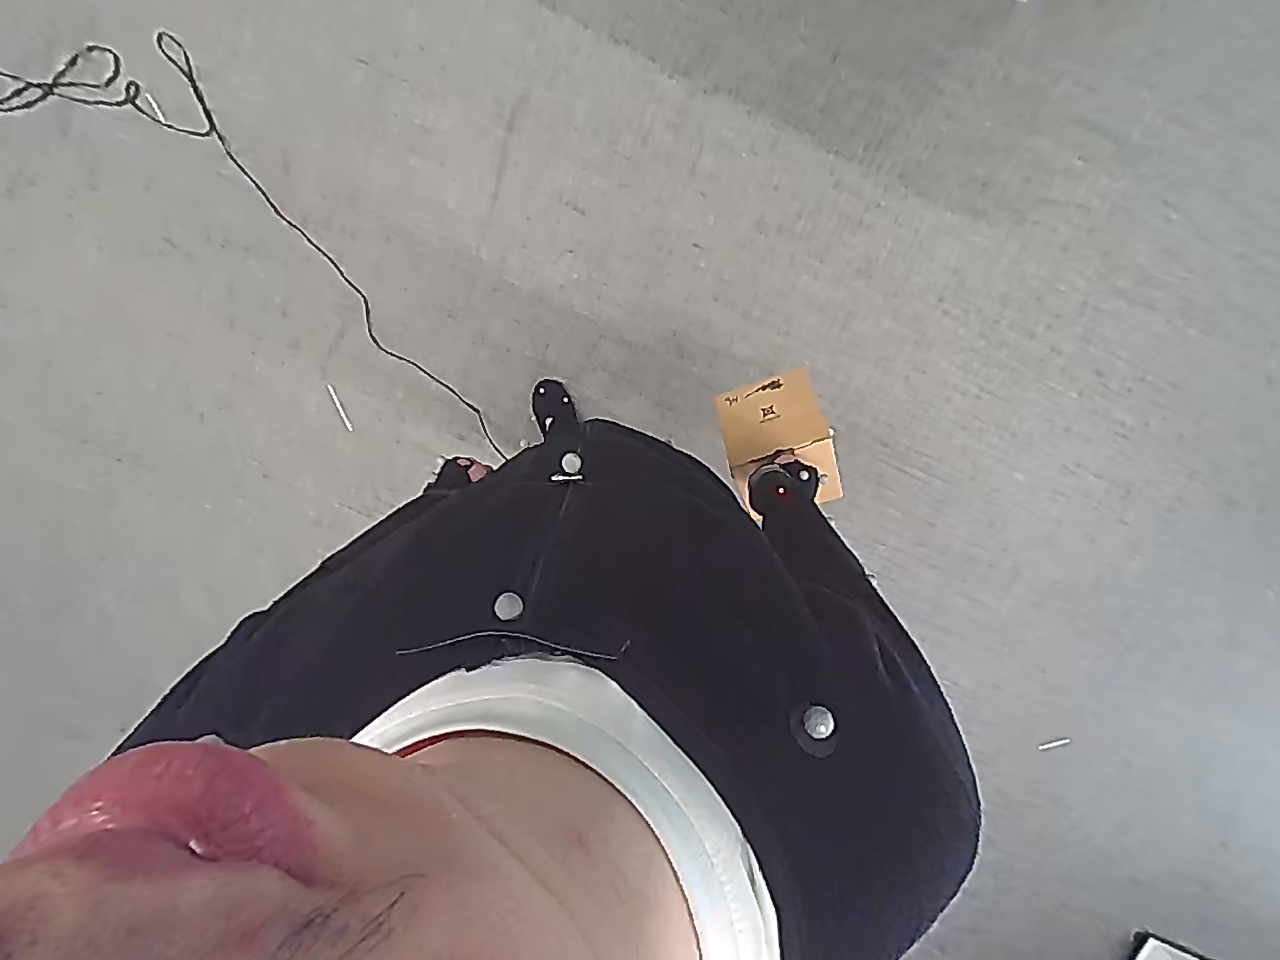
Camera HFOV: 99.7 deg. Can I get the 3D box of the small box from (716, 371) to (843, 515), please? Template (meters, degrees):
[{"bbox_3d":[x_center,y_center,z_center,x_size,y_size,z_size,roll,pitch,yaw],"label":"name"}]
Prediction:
[{"bbox_3d":[0.251,-0.056,0.969,0.168,0.179,0.176,-18,138,15],"label":"small box"}]
